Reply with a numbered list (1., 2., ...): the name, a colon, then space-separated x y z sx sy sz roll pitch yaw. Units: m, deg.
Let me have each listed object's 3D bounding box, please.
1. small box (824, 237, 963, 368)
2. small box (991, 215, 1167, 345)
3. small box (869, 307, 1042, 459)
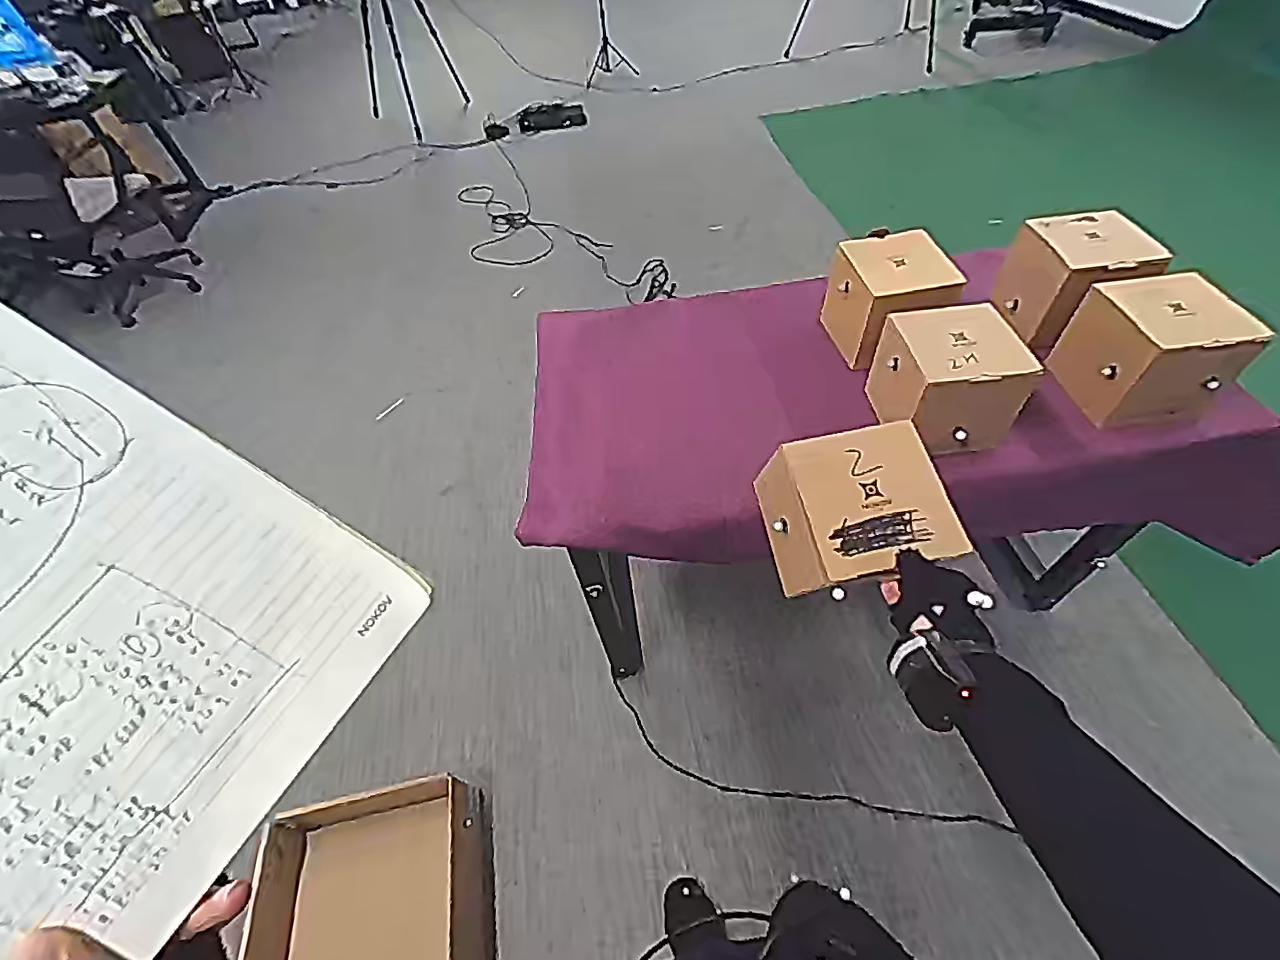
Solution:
1. small box: 0.470 -0.331 1.033 0.168 0.176 0.179 -10 51 -1
2. small box: 0.808 -0.369 1.020 0.168 0.176 0.179 -4 52 3
3. small box: 0.496 -0.157 0.887 0.168 0.176 0.179 -6 51 3
